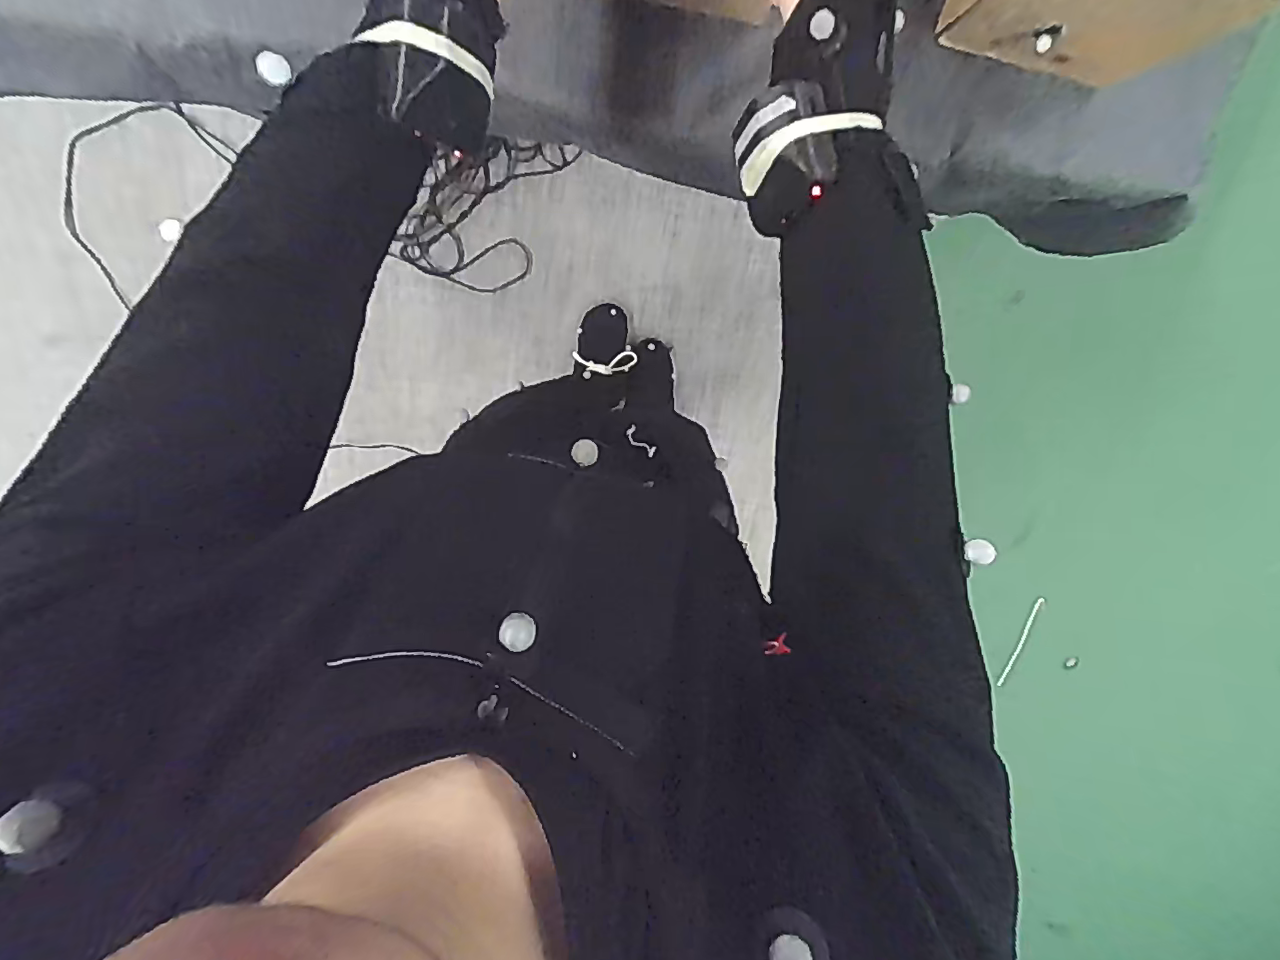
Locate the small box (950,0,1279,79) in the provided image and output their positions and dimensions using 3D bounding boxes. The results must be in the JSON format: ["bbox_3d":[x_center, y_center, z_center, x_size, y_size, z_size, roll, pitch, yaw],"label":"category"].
[{"bbox_3d":[0.357,-0.424,0.376,0.168,0.176,0.179,11,111,-4],"label":"small box"}]

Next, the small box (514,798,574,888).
[{"bbox_3d":[-0.307,1.175,1.753,0.168,0.176,0.179,5,110,-3],"label":"small box"}]
